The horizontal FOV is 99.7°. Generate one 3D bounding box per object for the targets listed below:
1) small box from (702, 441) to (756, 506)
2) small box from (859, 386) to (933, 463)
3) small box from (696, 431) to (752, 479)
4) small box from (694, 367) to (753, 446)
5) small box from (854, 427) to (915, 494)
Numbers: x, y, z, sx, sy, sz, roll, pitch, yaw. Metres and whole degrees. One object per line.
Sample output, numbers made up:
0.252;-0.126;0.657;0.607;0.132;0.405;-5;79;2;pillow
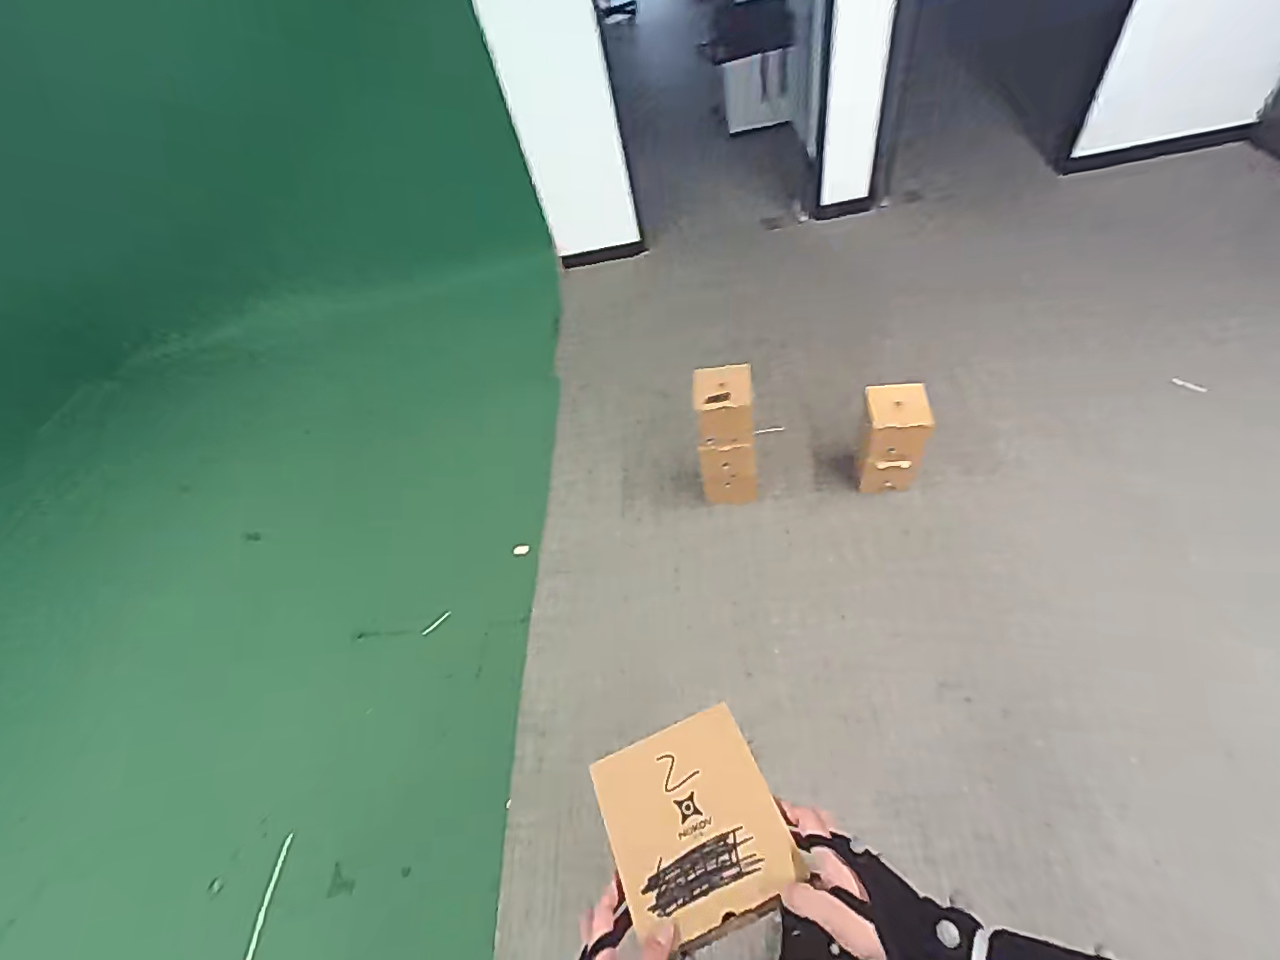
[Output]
0.314;-0.019;1.902;0.179;0.176;0.168;-3;53;12;small box
0.792;-0.171;1.691;0.168;0.176;0.179;-2;54;12;small box
0.278;-0.113;1.773;0.168;0.176;0.179;-3;54;11;small box
0.256;-0.217;1.647;0.168;0.176;0.179;-4;53;11;small box
0.815;-0.073;1.816;0.168;0.176;0.179;1;55;17;small box
